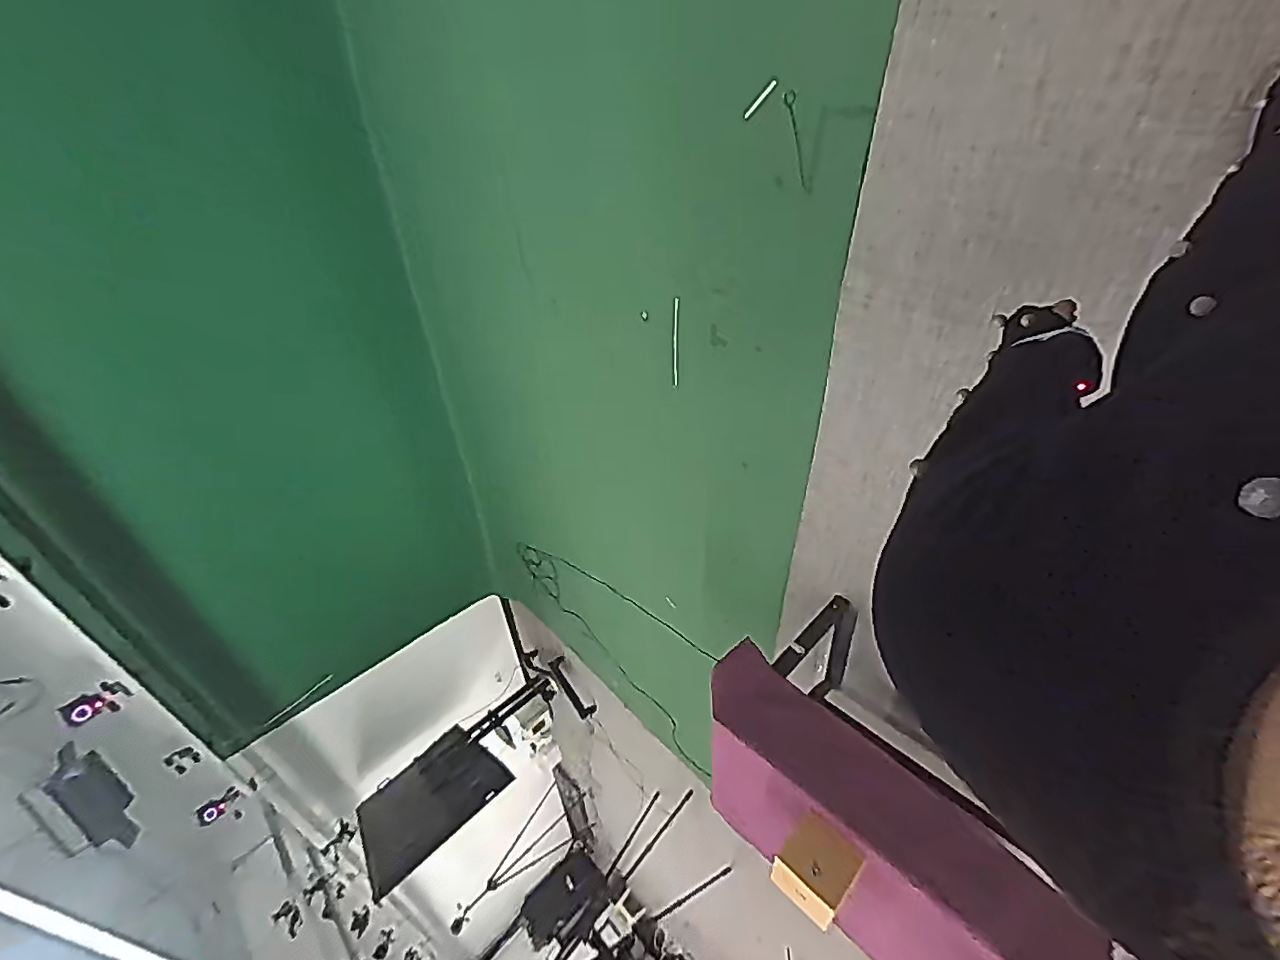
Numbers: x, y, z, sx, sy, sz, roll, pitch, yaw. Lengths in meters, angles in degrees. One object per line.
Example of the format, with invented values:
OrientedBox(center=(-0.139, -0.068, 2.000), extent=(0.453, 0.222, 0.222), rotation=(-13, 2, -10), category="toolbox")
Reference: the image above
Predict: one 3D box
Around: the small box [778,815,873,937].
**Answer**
OrientedBox(center=(0.497, 1.057, 1.451), extent=(0.179, 0.176, 0.168), rotation=(29, 137, 37), category="small box")
